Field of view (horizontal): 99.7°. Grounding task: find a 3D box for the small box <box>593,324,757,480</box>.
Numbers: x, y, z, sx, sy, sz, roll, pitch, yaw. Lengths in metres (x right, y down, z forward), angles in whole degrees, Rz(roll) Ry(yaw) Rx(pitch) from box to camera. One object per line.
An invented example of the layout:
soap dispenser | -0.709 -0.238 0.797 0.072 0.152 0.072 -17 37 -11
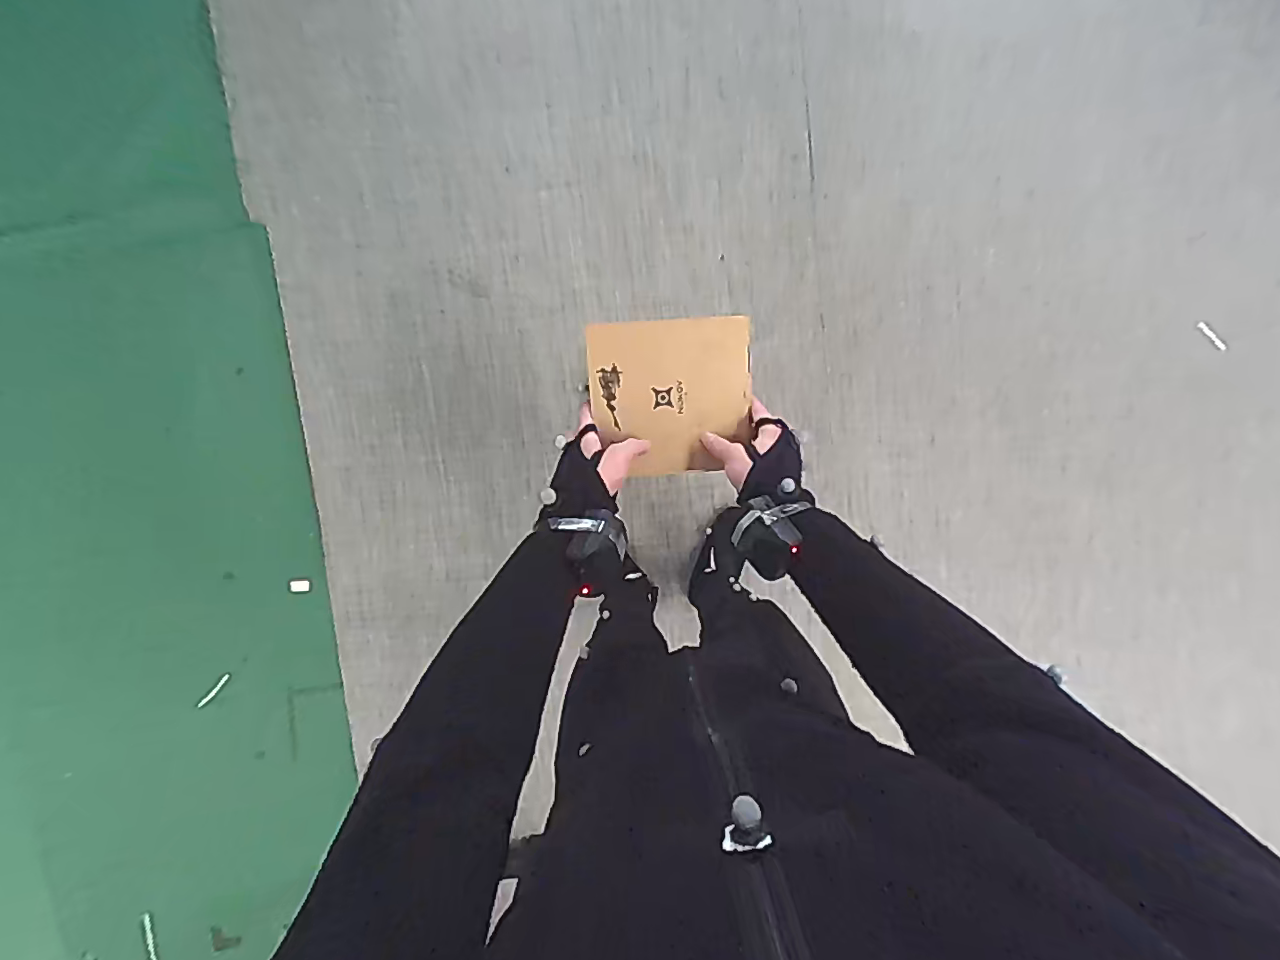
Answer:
small box | 0.035 -0.097 0.659 0.179 0.176 0.168 -3 99 -2
